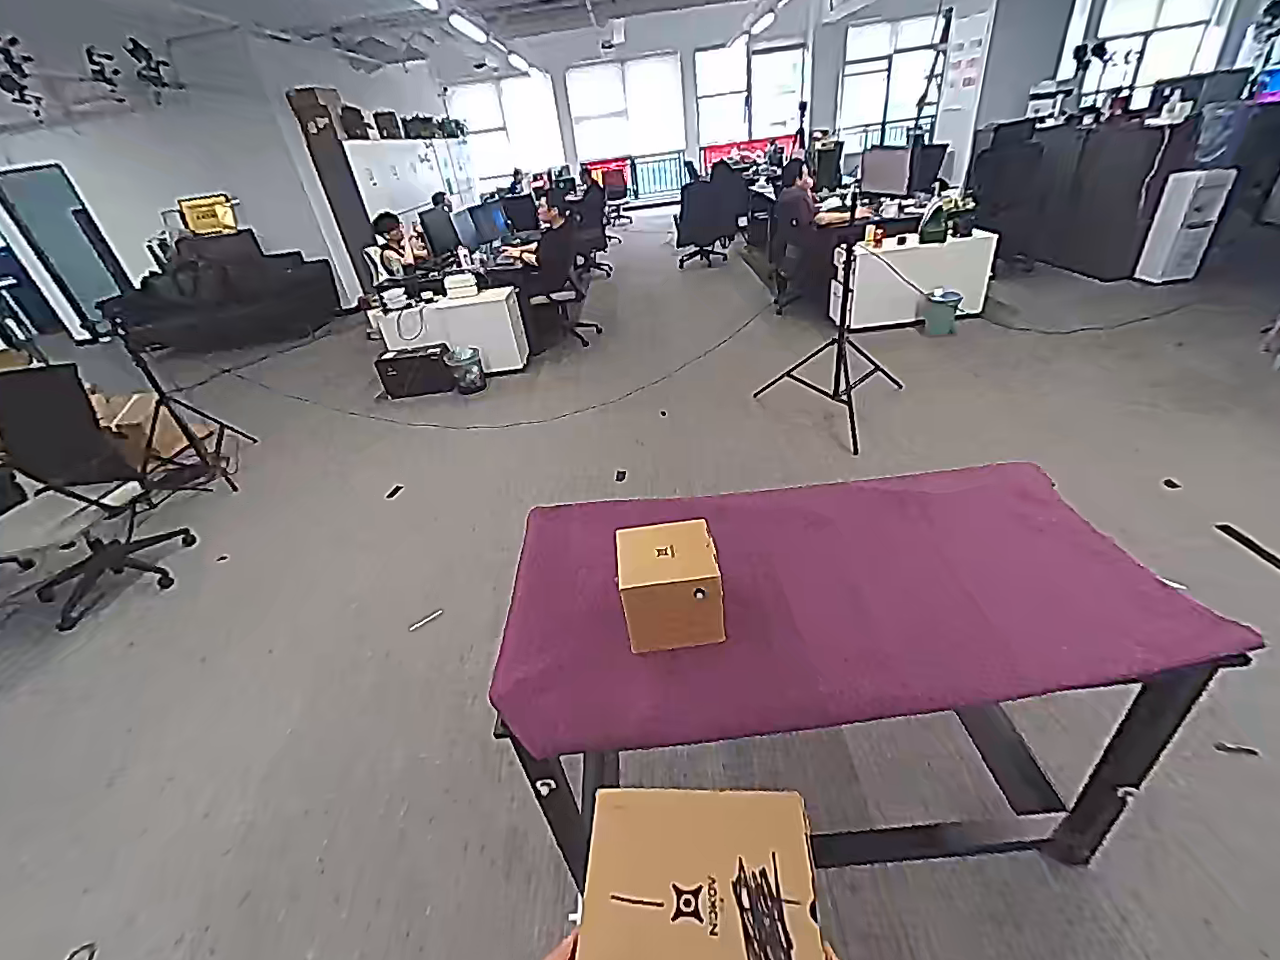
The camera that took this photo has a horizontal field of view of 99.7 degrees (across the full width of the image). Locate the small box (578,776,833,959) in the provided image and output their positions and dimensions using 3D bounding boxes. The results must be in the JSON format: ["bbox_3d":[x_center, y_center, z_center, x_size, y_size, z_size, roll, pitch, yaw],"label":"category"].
[{"bbox_3d":[0.054,0.371,0.445,0.179,0.176,0.168,-3,34,7],"label":"small box"}]

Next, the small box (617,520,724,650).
[{"bbox_3d":[0.055,0.200,1.023,0.179,0.176,0.168,-8,32,0],"label":"small box"}]
